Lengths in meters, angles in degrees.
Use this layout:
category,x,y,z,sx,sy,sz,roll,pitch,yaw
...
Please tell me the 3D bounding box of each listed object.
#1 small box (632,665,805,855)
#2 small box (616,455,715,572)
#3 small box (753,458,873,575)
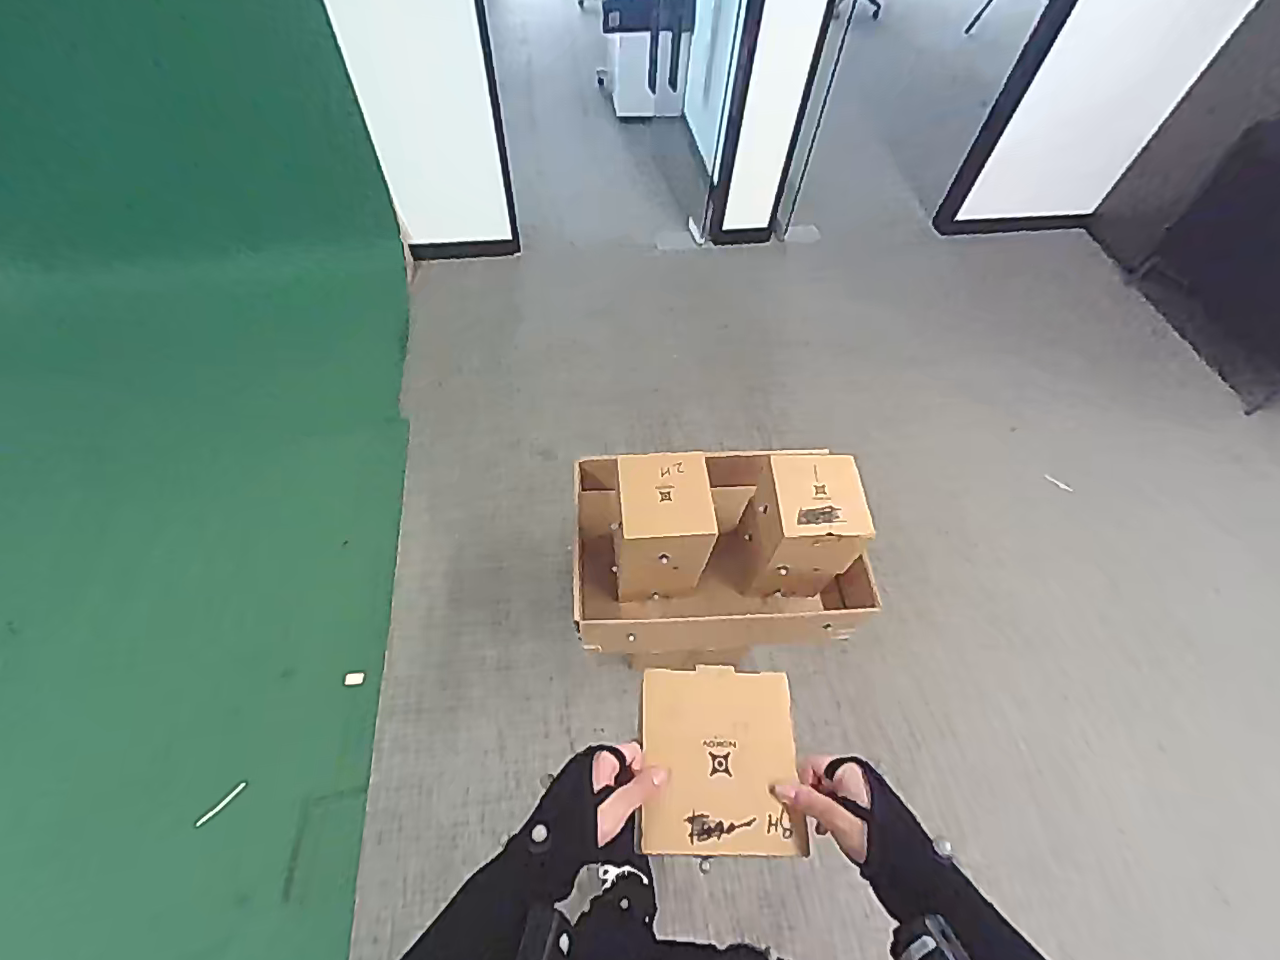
category,x,y,z,sx,sy,sz,roll,pitch,yaw
small box,0.076,0.330,0.633,0.168,0.176,0.179,2,56,-1
small box,0.041,0.071,1.035,0.168,0.176,0.179,-2,59,-5
small box,0.324,0.075,1.051,0.168,0.176,0.179,0,57,-2
